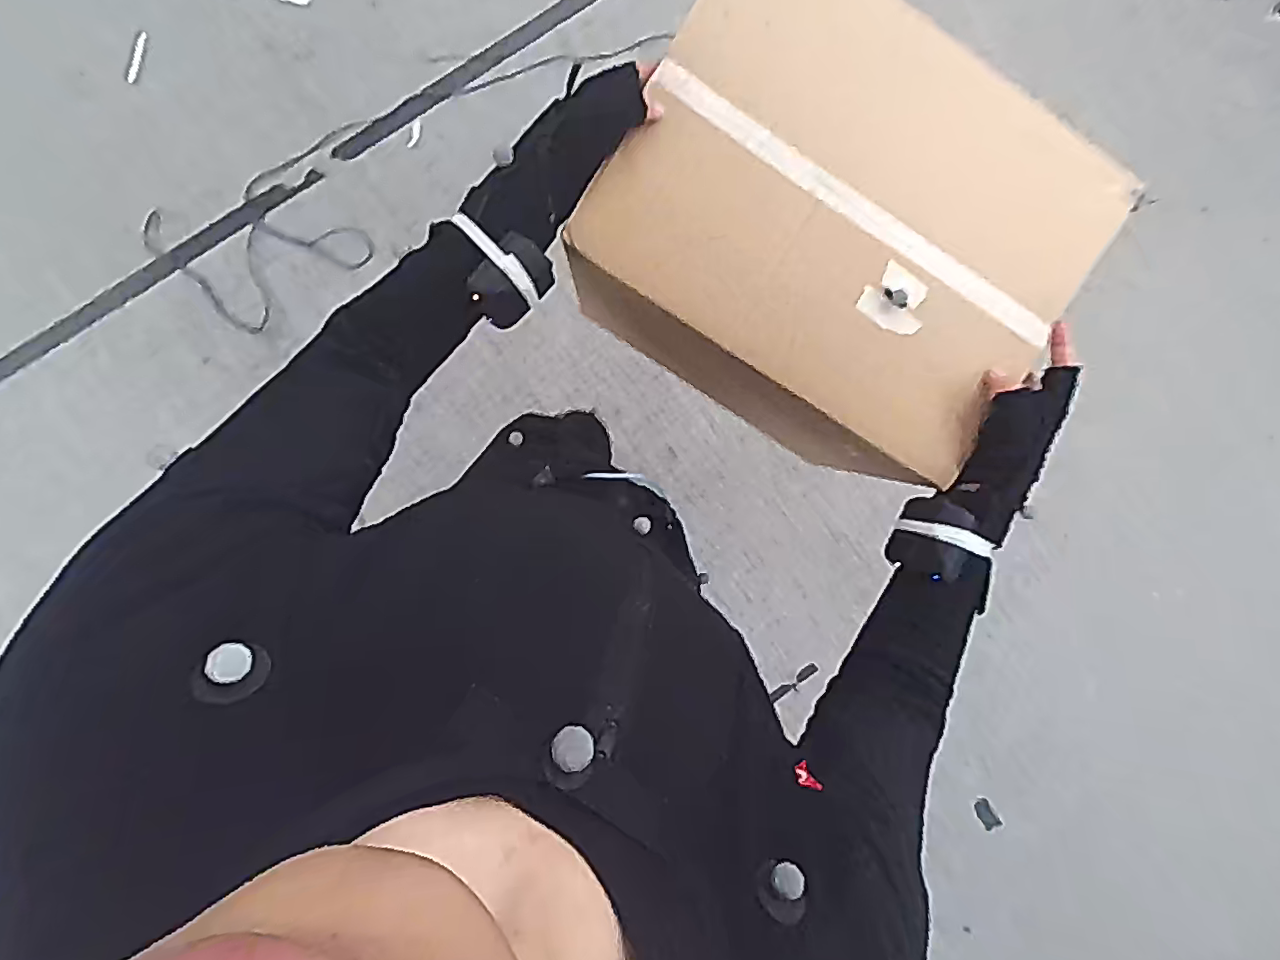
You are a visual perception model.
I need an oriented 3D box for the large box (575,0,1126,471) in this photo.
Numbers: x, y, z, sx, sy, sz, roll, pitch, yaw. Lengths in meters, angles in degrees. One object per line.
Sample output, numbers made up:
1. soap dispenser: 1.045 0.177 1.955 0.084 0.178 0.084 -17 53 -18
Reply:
1. large box: 0.177 -0.252 0.616 0.408 0.320 0.320 31 95 -7
